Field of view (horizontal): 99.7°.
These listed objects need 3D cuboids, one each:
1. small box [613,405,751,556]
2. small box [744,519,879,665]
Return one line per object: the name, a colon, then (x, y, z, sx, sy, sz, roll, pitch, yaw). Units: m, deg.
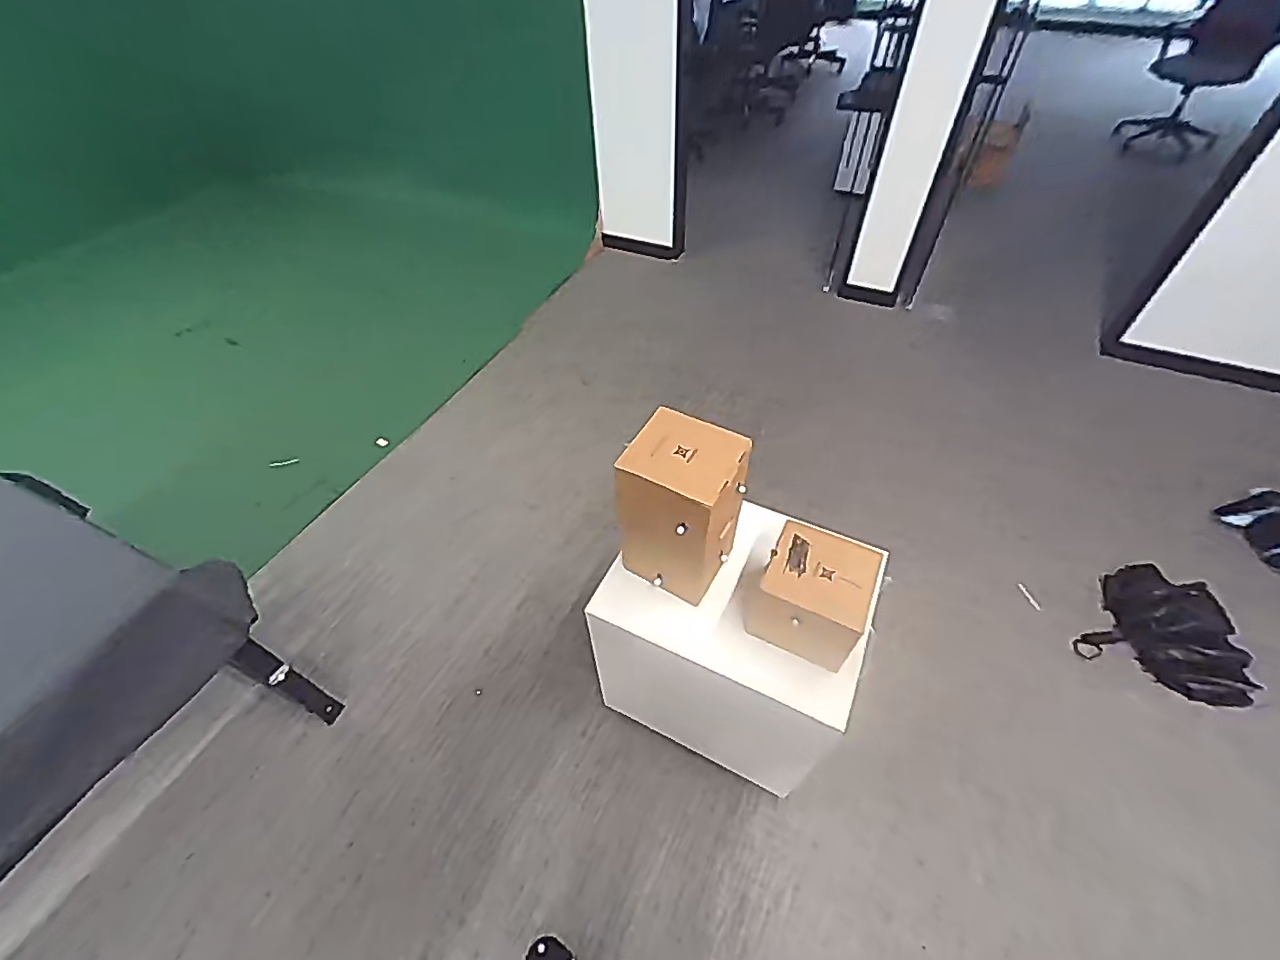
small box: (0.069, 0.005, 0.928, 0.179, 0.176, 0.168, 22, 51, 18)
small box: (0.302, 0.205, 0.976, 0.179, 0.176, 0.168, 22, 52, 16)
